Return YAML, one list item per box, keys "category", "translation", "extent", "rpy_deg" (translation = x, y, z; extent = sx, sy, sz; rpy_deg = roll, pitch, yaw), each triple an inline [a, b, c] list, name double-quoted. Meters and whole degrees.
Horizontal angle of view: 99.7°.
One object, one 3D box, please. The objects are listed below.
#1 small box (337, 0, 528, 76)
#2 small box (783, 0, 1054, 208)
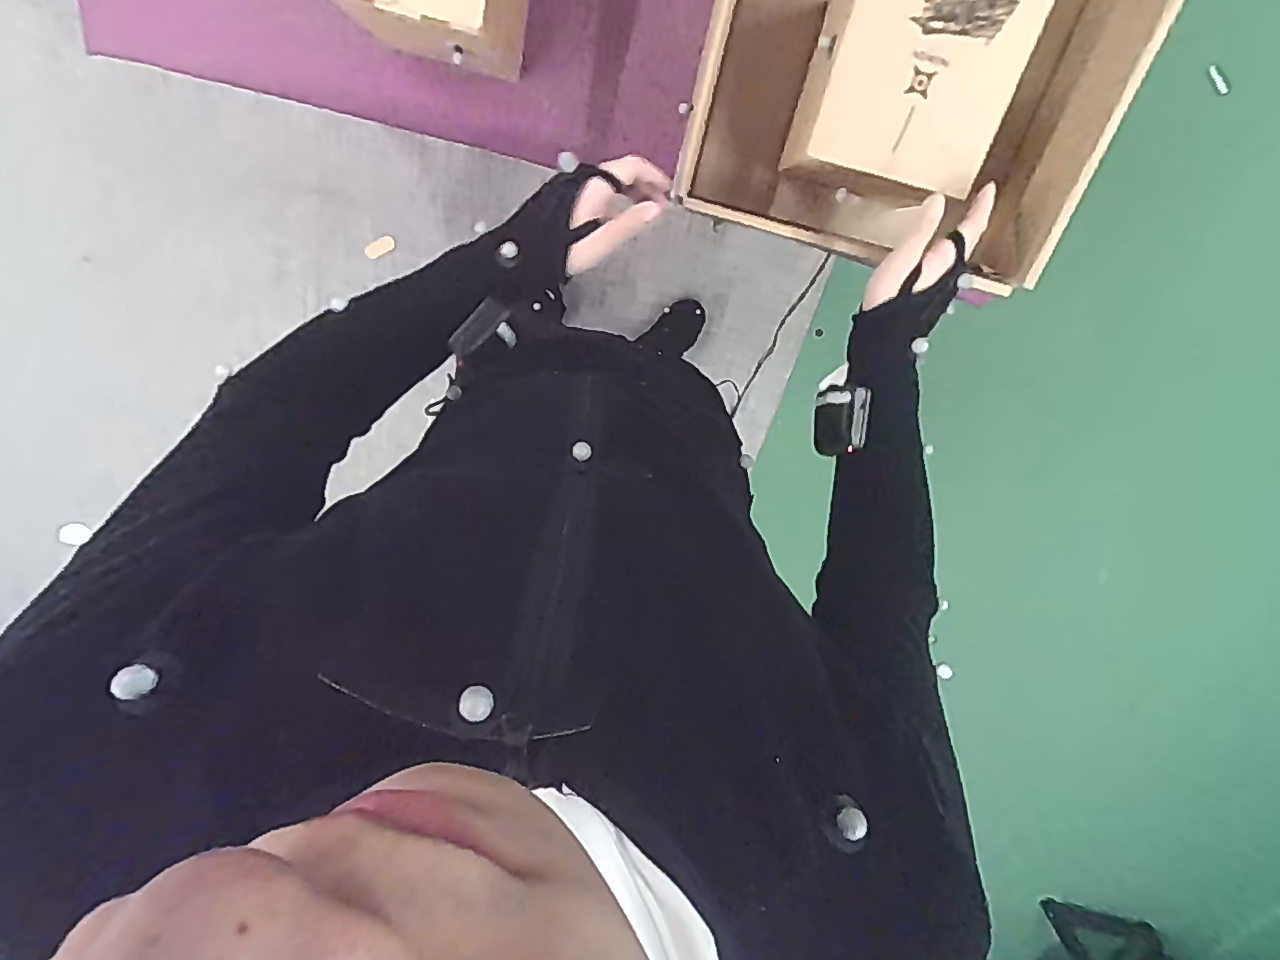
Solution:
- category: "small box"
  translation: [-0.209, -0.559, 0.560]
  extent: [0.168, 0.176, 0.179]
  rpy_deg: [14, 112, -5]
- category: "small box"
  translation: [0.263, -0.399, 0.561]
  extent: [0.168, 0.176, 0.179]
  rpy_deg: [14, 114, -3]
